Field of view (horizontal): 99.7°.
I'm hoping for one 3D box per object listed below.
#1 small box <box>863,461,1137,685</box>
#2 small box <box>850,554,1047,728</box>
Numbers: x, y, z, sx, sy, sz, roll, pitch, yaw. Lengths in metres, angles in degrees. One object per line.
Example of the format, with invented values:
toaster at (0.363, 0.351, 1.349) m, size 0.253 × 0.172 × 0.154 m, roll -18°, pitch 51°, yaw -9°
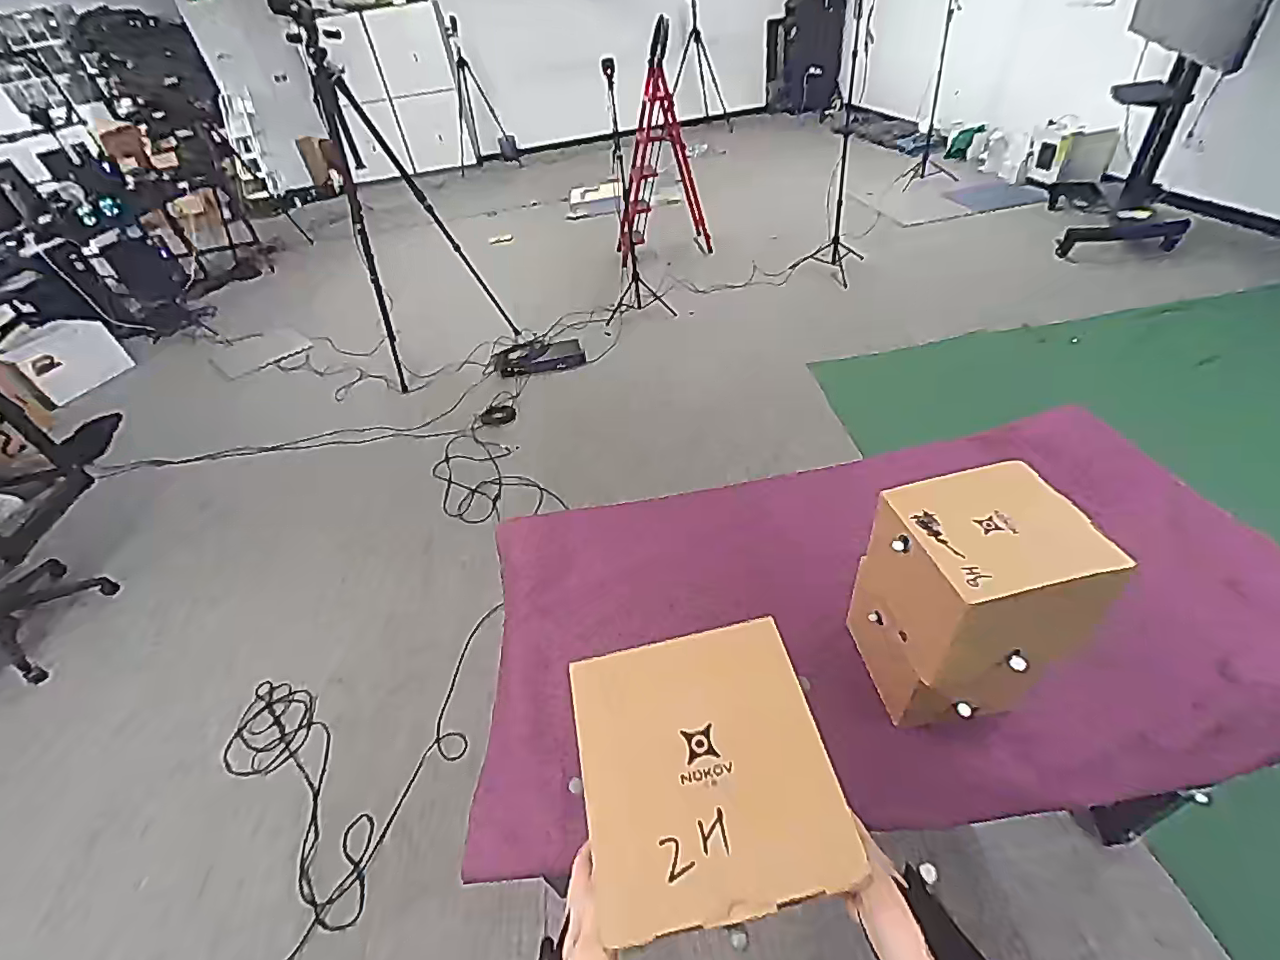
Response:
small box at (0.382, 0.106, 0.615) m, size 0.179 × 0.176 × 0.168 m, roll -11°, pitch 41°, yaw -2°
small box at (0.407, 0.209, 0.743) m, size 0.168 × 0.176 × 0.179 m, roll -9°, pitch 41°, yaw 0°
